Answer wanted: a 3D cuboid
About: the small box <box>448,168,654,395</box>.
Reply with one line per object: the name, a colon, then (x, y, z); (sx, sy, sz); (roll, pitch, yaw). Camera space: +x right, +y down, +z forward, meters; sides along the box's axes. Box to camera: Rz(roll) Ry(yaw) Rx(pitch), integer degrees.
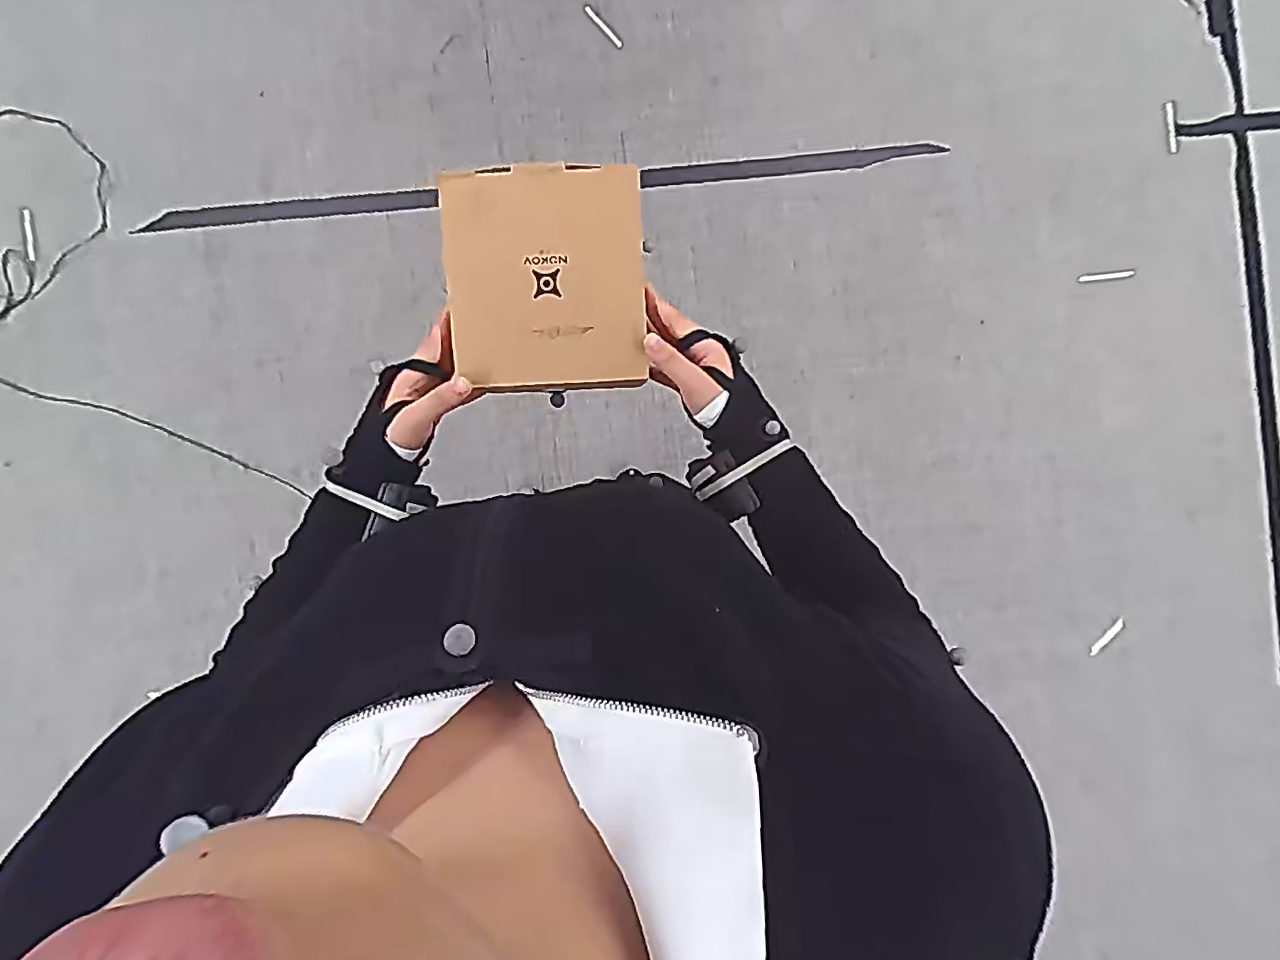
small box: (-0.076, -0.177, 0.529); (0.168, 0.176, 0.179); (-3, 98, -2)
